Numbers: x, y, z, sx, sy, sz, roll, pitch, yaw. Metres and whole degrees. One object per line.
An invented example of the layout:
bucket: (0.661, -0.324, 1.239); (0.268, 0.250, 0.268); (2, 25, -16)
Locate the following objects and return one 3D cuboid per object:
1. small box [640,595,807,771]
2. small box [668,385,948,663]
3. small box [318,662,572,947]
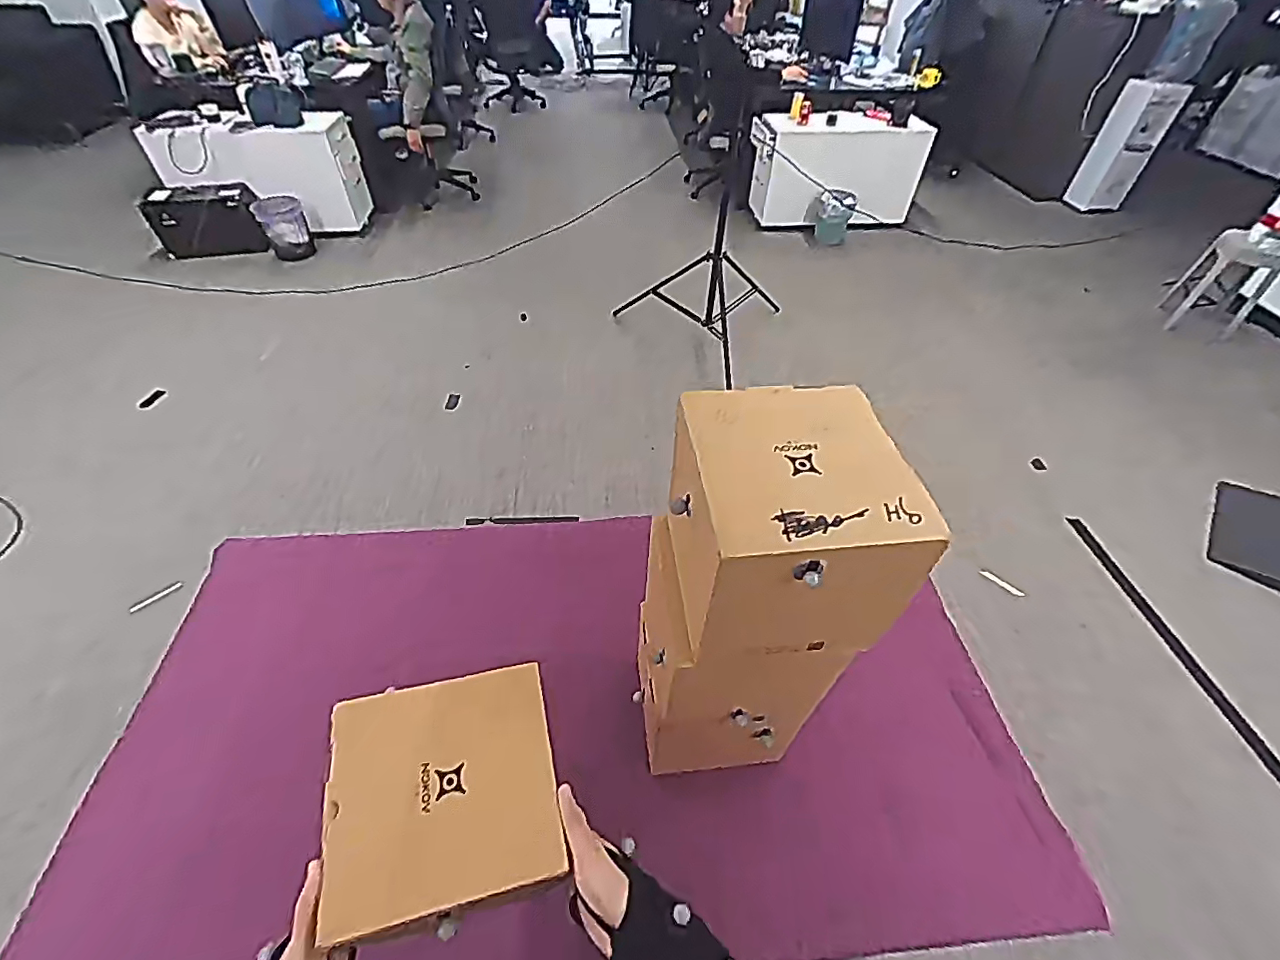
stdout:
small box: (0.095, 0.264, 0.713); (0.179, 0.176, 0.168); (-4, 46, -5)
small box: (0.120, 0.037, 0.477); (0.168, 0.176, 0.179); (-4, 46, -5)
small box: (-0.164, 0.290, 0.493); (0.179, 0.176, 0.168); (-8, 53, -14)
